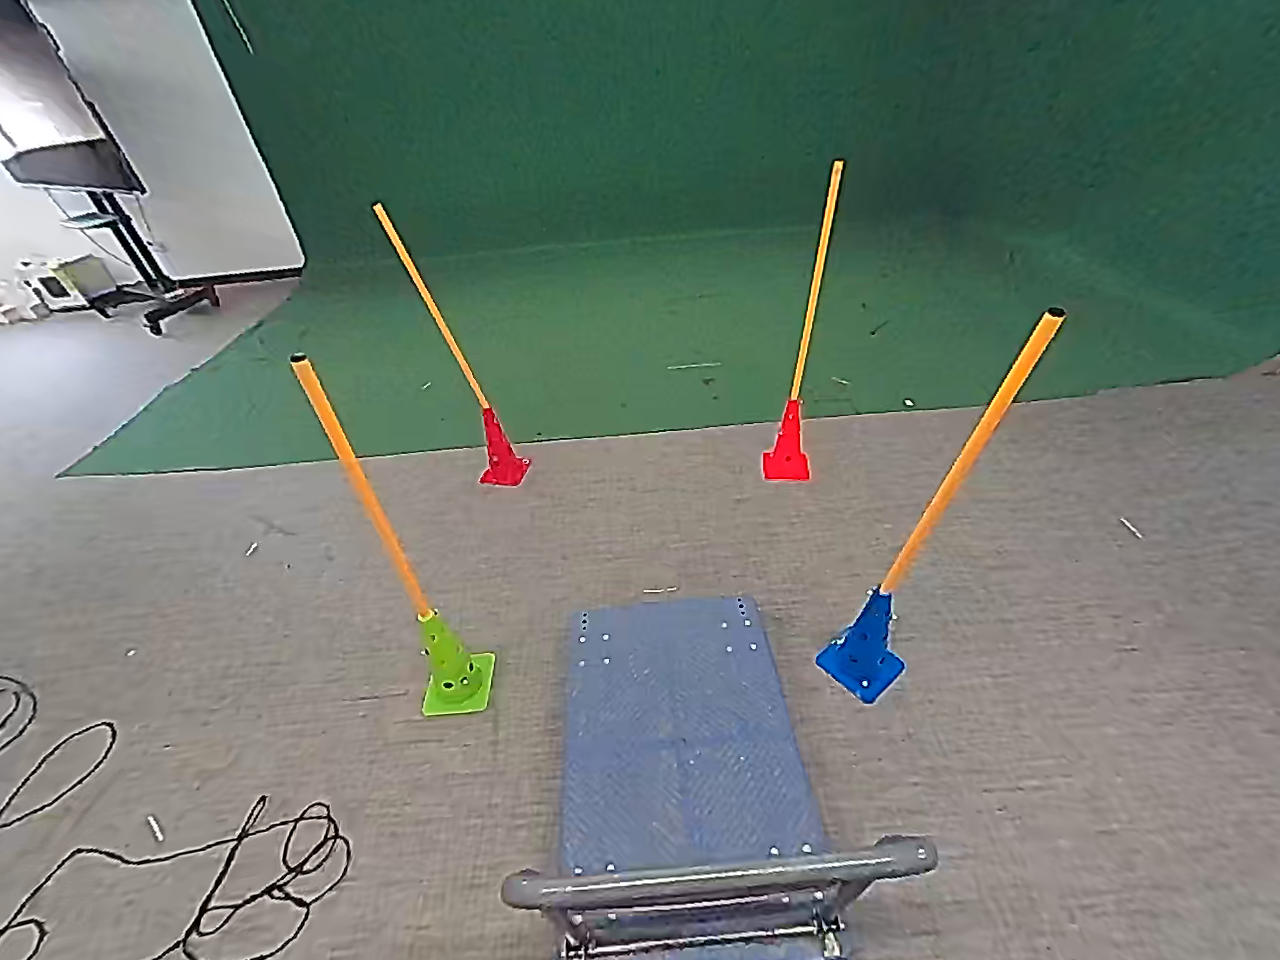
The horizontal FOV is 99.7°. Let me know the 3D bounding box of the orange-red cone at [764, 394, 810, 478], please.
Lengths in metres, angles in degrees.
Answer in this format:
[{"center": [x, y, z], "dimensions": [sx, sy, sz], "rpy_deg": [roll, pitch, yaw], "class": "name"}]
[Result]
[{"center": [0.639, -0.203, 2.303], "dimensions": [0.198, 0.360, 0.199], "rpy_deg": [2, 41, 11], "class": "orange-red cone"}]
